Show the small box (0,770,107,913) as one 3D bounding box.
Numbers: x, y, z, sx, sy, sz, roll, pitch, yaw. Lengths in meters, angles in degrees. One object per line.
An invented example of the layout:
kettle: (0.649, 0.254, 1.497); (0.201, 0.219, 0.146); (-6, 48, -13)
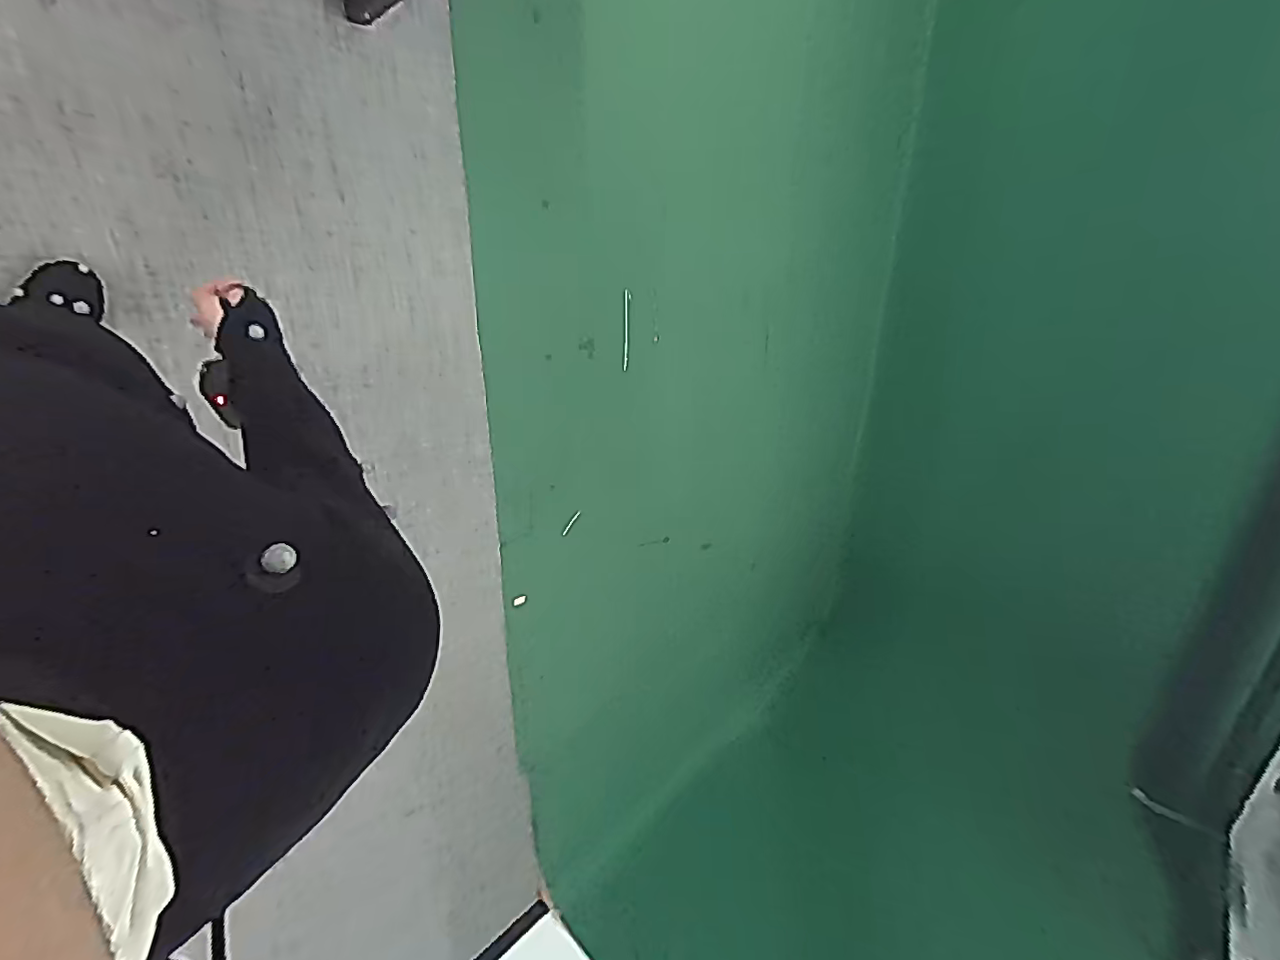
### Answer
small box: (-1.370, 0.815, 1.241); (0.179, 0.176, 0.168); (-16, 117, -42)
